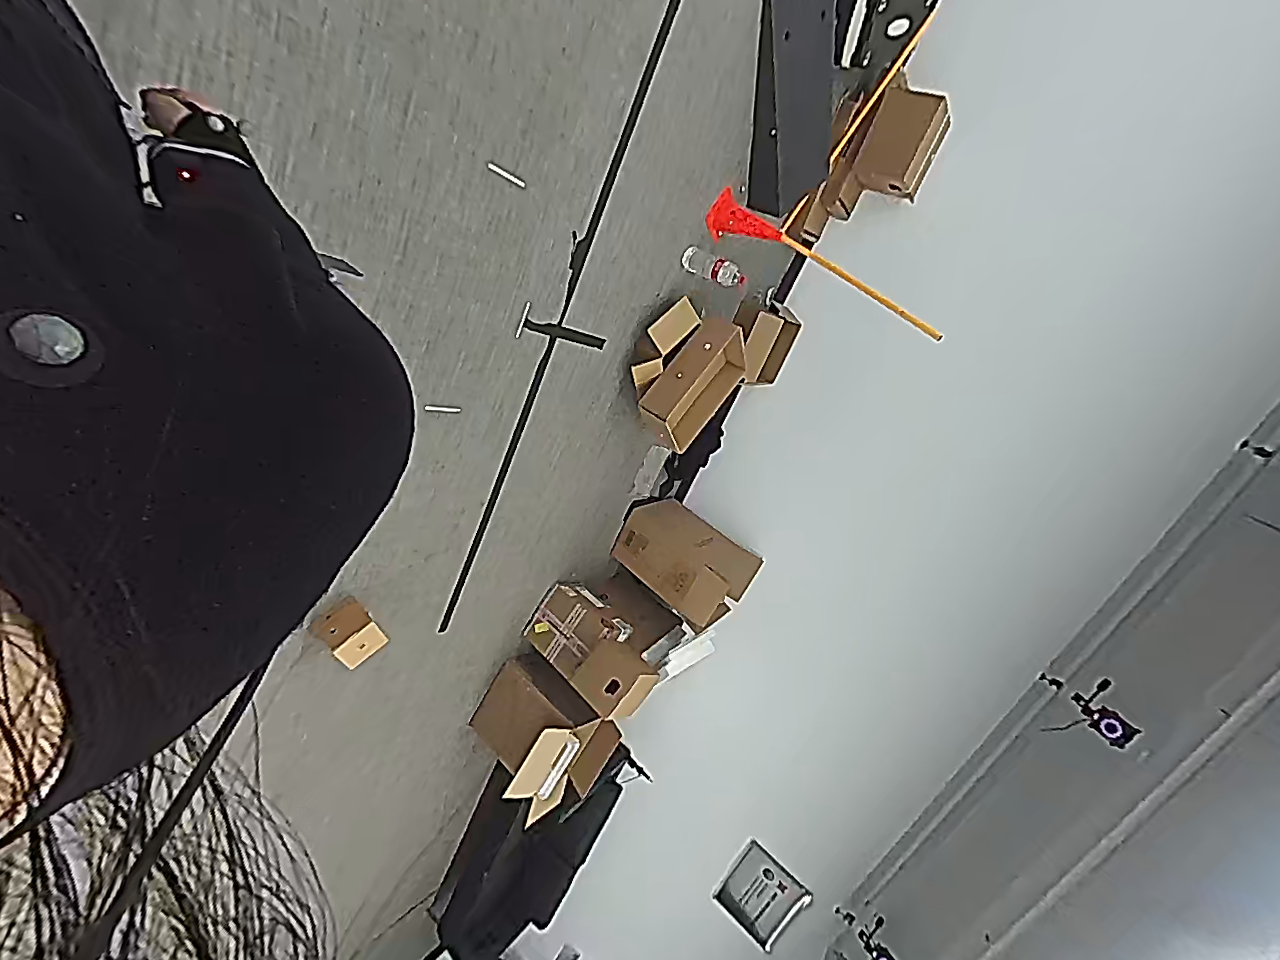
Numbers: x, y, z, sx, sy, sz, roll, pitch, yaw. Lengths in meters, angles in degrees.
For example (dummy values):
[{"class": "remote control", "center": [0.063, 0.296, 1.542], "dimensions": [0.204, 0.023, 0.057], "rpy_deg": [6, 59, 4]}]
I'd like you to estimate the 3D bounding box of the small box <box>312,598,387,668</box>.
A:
[{"class": "small box", "center": [-1.115, 0.581, 2.076], "dimensions": [0.168, 0.176, 0.179], "rpy_deg": [-40, 152, -28]}]
